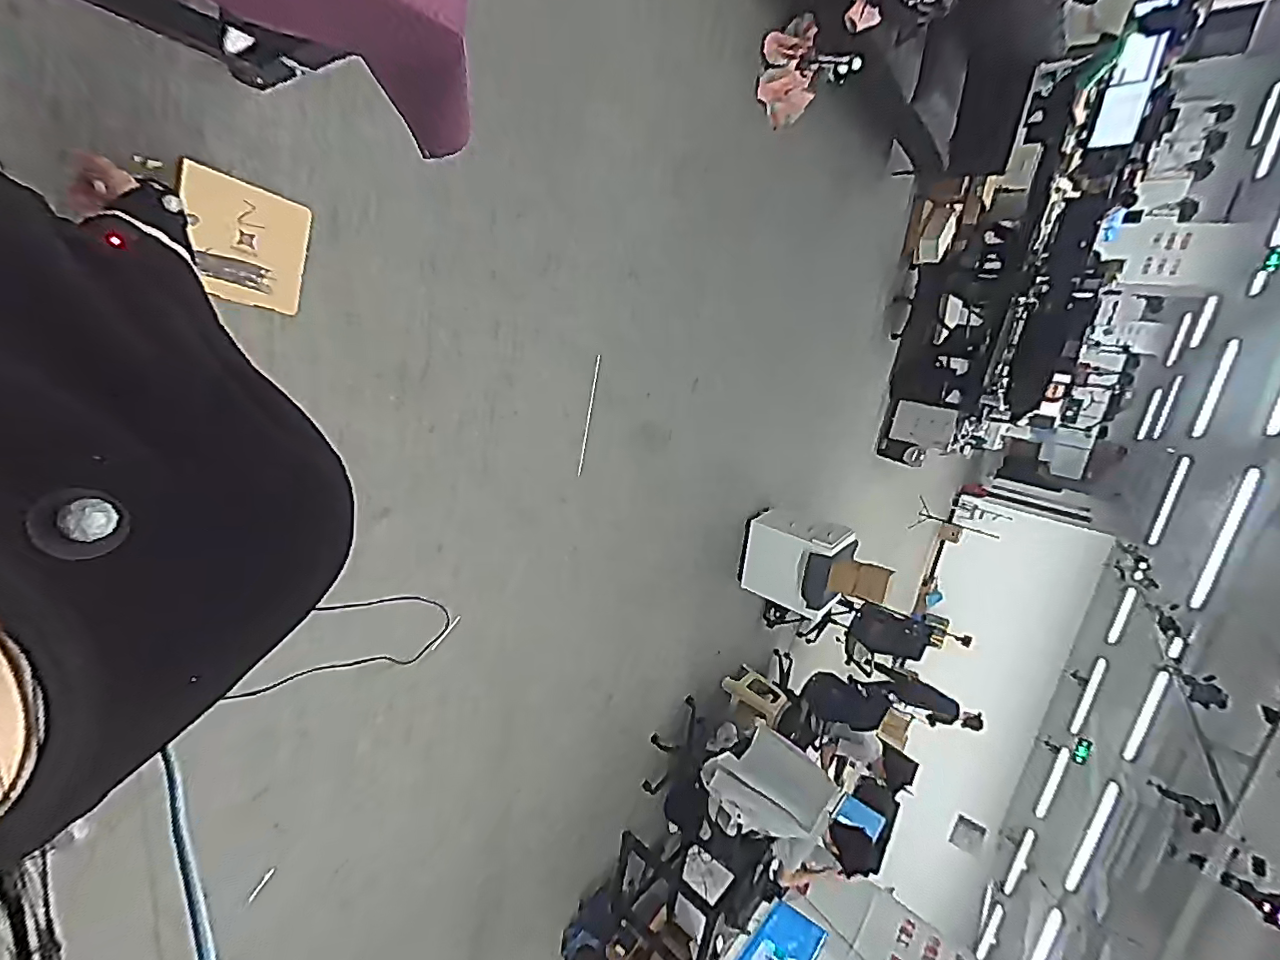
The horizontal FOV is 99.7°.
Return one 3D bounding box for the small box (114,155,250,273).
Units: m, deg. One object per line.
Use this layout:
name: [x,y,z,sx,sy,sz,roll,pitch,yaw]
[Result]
small box: [-0.896,-0.516,1.062,0.179,0.176,0.168,-7,112,-49]
